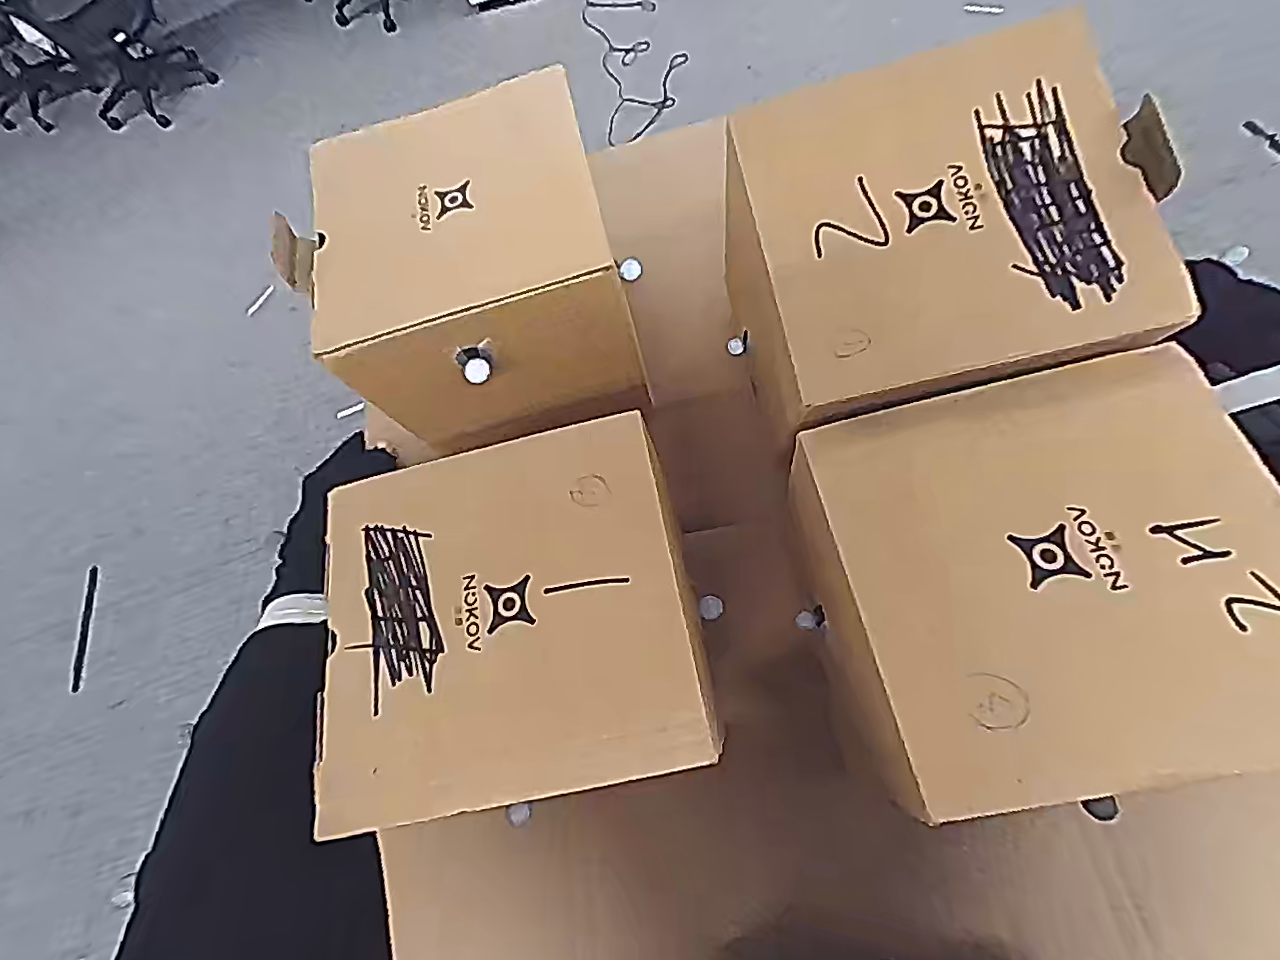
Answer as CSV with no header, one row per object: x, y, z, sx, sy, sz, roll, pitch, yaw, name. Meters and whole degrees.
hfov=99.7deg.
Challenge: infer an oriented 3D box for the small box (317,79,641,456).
-0.103,-0.137,0.402,0.179,0.176,0.168,-16,69,5,small box
